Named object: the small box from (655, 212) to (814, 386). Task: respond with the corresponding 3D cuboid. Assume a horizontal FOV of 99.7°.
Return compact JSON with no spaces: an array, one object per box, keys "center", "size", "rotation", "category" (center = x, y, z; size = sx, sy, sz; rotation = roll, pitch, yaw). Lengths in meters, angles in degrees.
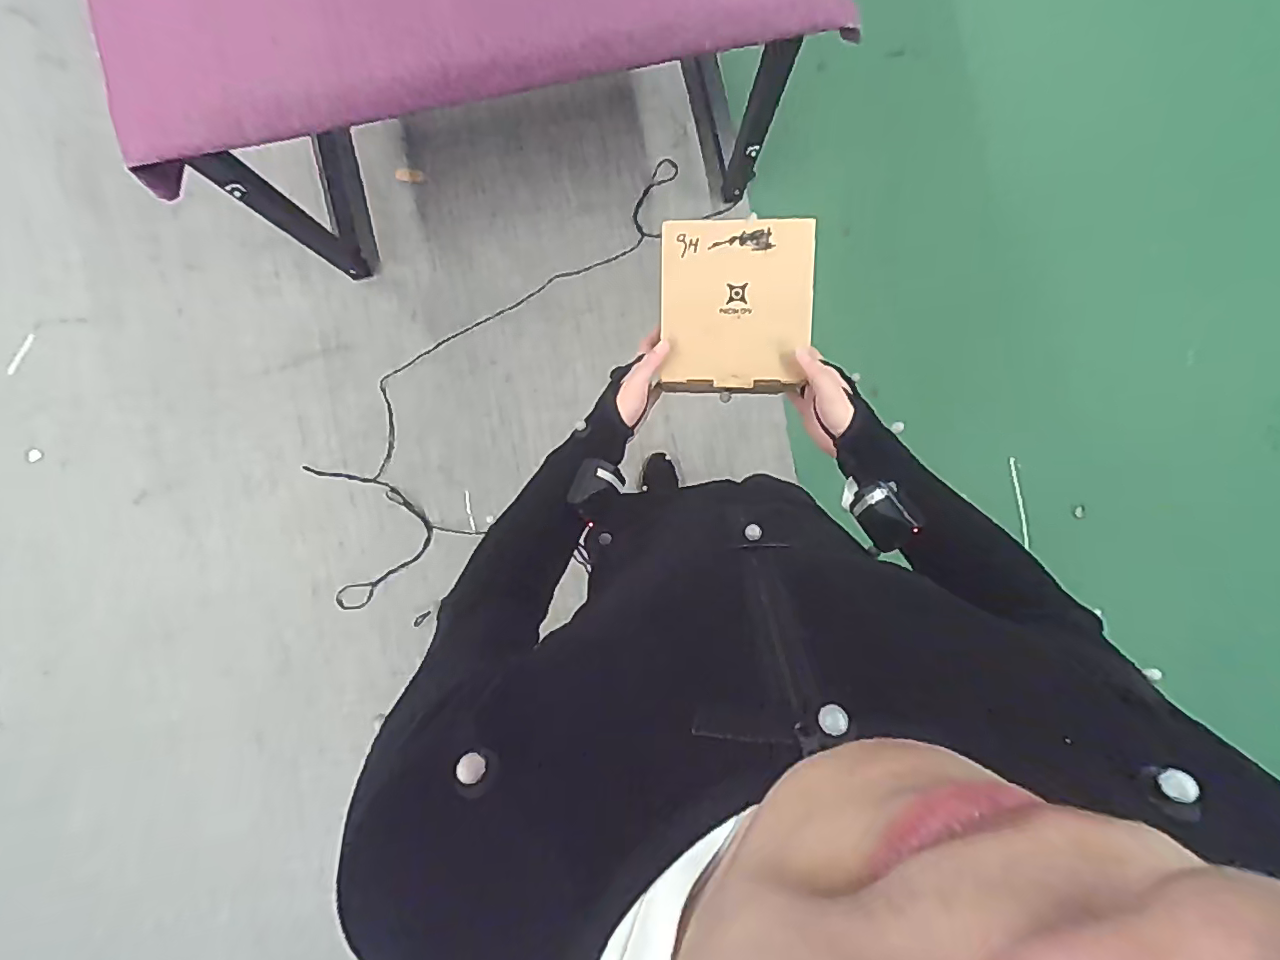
[{"center":[0.108,-0.208,0.664],"size":[0.168,0.176,0.179],"rotation":[2,96,5],"category":"small box"}]
